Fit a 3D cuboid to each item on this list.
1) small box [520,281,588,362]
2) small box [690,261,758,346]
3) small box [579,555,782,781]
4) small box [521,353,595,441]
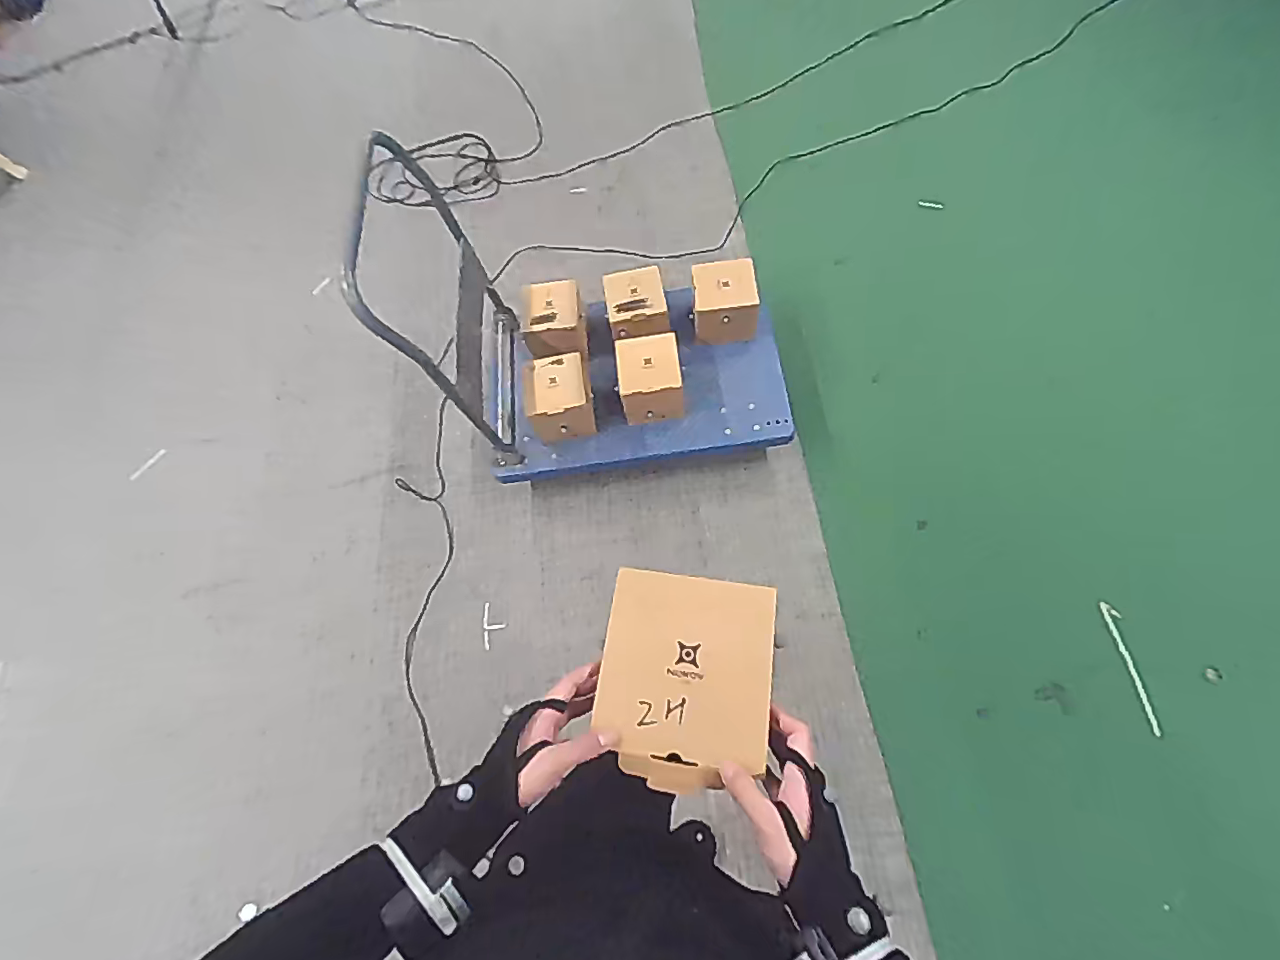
[{"bbox_3d":[-0.251,-0.461,1.612,0.168,0.176,0.179,-5,66,4],"label":"small box"},{"bbox_3d":[0.242,-0.508,1.578,0.179,0.176,0.168,-5,68,5],"label":"small box"},{"bbox_3d":[0.050,0.206,0.595,0.168,0.176,0.179,12,67,13],"label":"small box"},{"bbox_3d":[-0.224,-0.222,1.507,0.168,0.176,0.179,-10,67,2],"label":"small box"}]
